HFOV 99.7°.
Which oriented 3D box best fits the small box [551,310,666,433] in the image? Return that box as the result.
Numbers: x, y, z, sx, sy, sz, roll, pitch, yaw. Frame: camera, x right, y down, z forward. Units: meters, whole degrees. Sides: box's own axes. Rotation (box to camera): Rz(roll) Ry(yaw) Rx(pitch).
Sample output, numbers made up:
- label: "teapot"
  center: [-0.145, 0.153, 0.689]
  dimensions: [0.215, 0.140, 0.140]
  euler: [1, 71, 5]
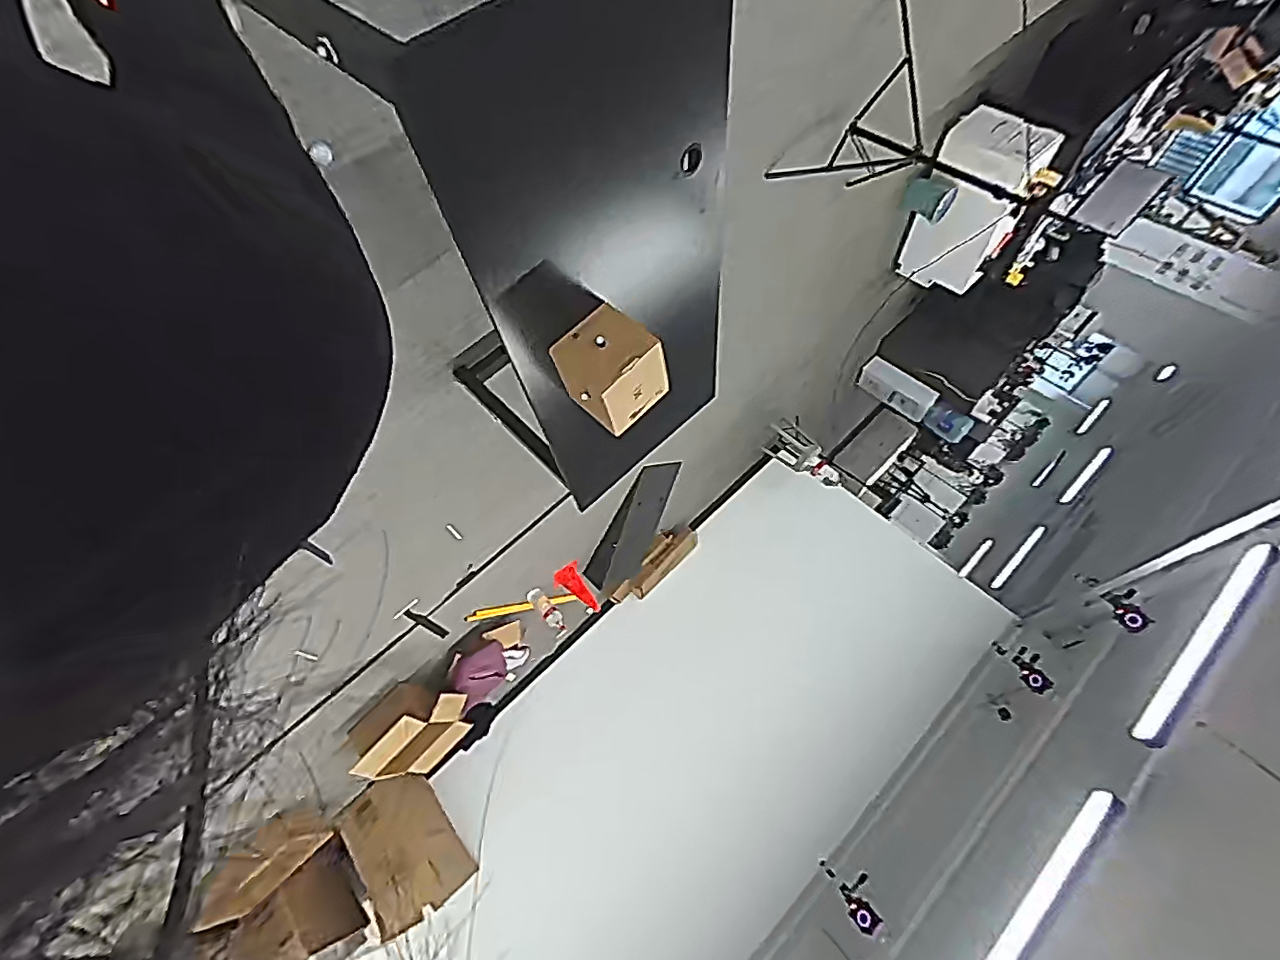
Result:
- label: "small box"
  center: [-0.066, -0.240, 1.167]
  dimensions: [0.168, 0.176, 0.179]
  euler: [-44, 155, -12]
